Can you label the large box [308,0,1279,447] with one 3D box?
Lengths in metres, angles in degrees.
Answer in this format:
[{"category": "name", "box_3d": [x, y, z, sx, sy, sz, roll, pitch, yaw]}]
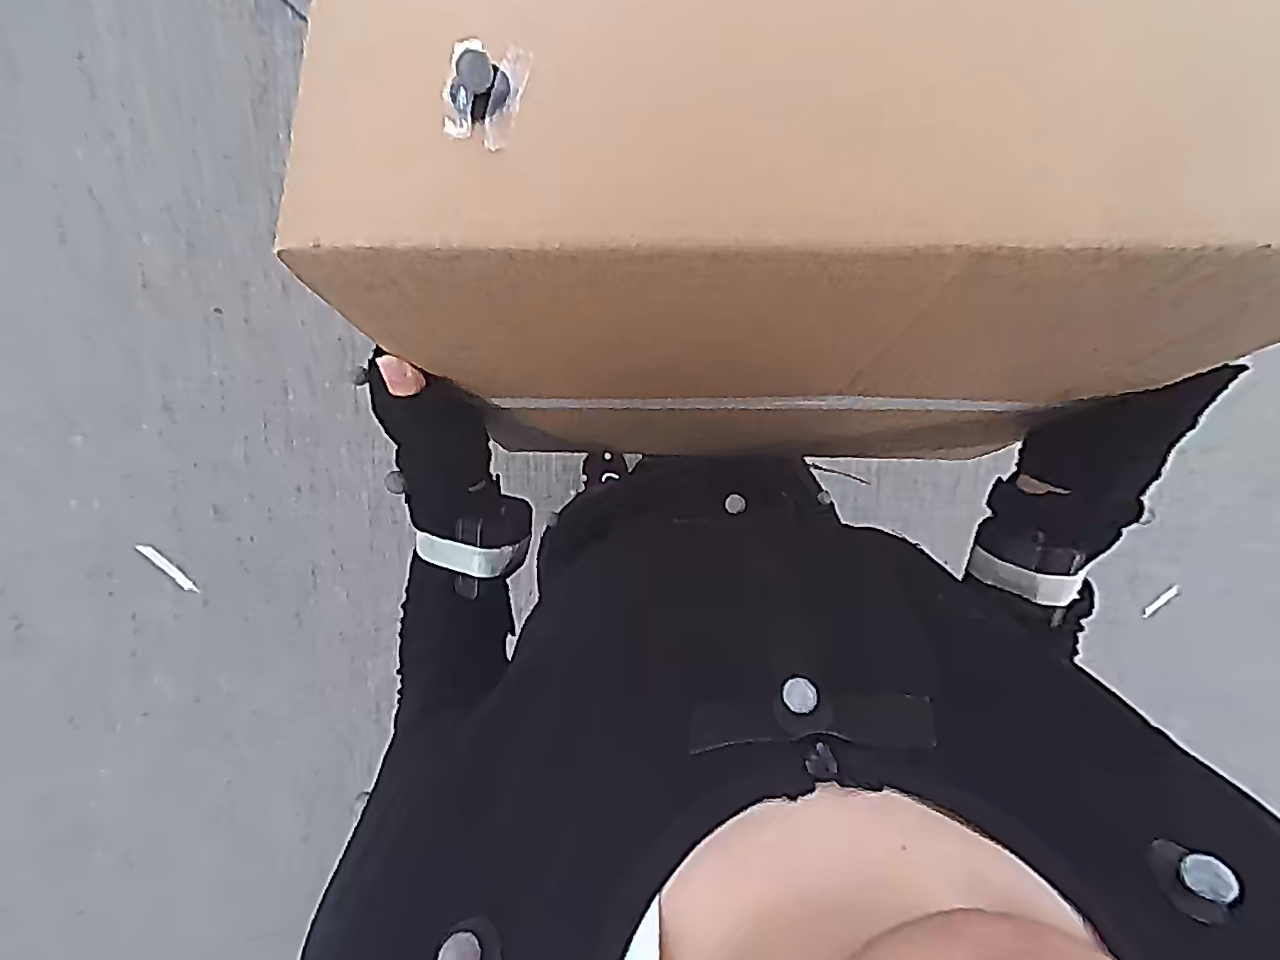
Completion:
[{"category": "large box", "box_3d": [0.080, -0.208, 0.363, 0.408, 0.320, 0.320, 1, 81, 1]}]
